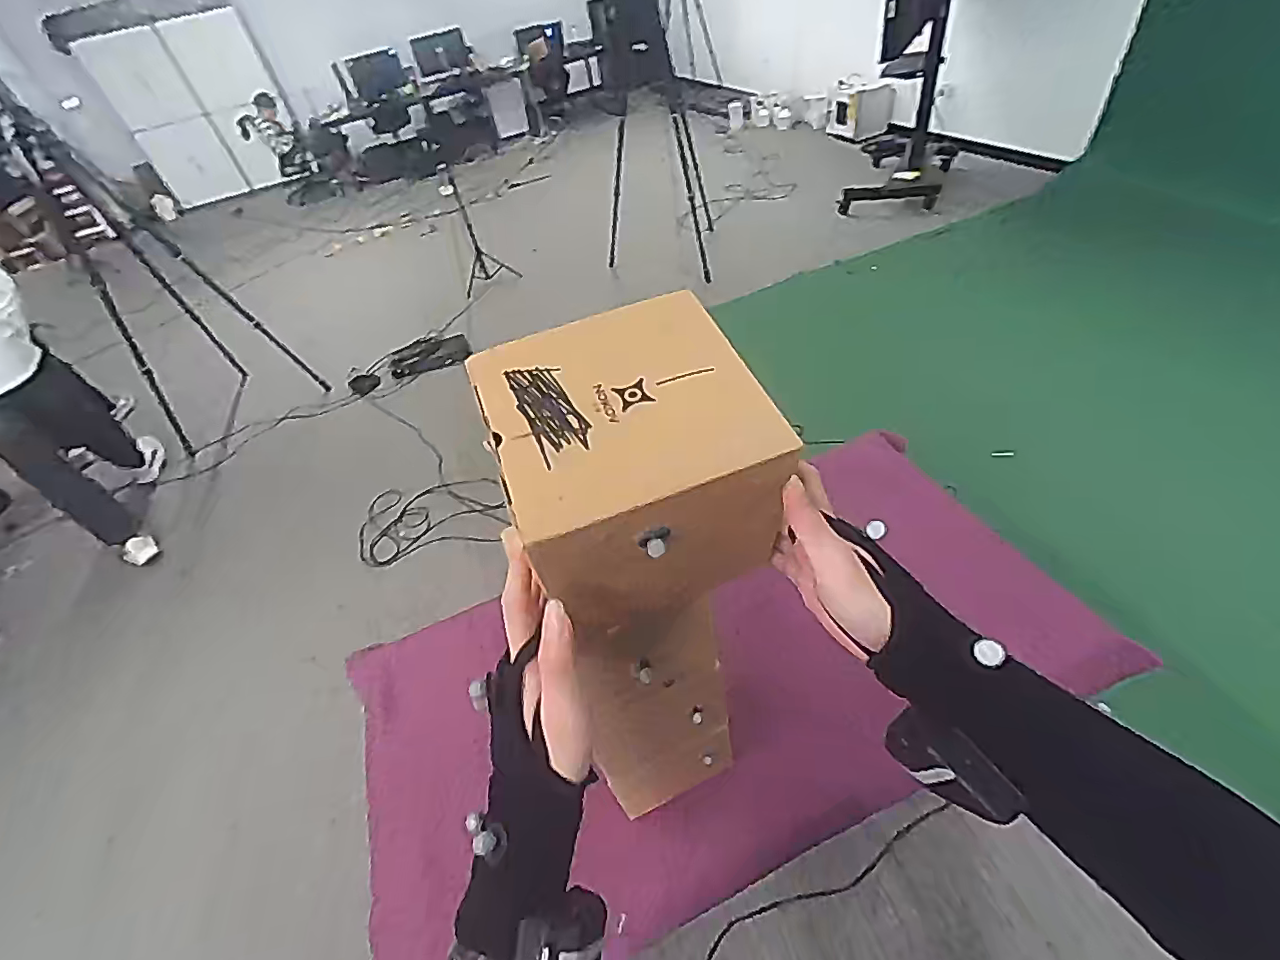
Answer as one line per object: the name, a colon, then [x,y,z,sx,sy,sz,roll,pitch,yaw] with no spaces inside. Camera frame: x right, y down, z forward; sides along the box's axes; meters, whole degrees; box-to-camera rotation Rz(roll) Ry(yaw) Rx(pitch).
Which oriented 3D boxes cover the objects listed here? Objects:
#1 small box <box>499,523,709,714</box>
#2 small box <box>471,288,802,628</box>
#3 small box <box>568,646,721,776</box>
small box: [-0.035,0.132,0.601,0.168,0.176,0.179,-23,45,-11]
small box: [-0.005,-0.009,0.413,0.179,0.176,0.168,-19,58,-9]
small box: [-0.006,0.250,0.709,0.179,0.176,0.168,-23,44,-10]
